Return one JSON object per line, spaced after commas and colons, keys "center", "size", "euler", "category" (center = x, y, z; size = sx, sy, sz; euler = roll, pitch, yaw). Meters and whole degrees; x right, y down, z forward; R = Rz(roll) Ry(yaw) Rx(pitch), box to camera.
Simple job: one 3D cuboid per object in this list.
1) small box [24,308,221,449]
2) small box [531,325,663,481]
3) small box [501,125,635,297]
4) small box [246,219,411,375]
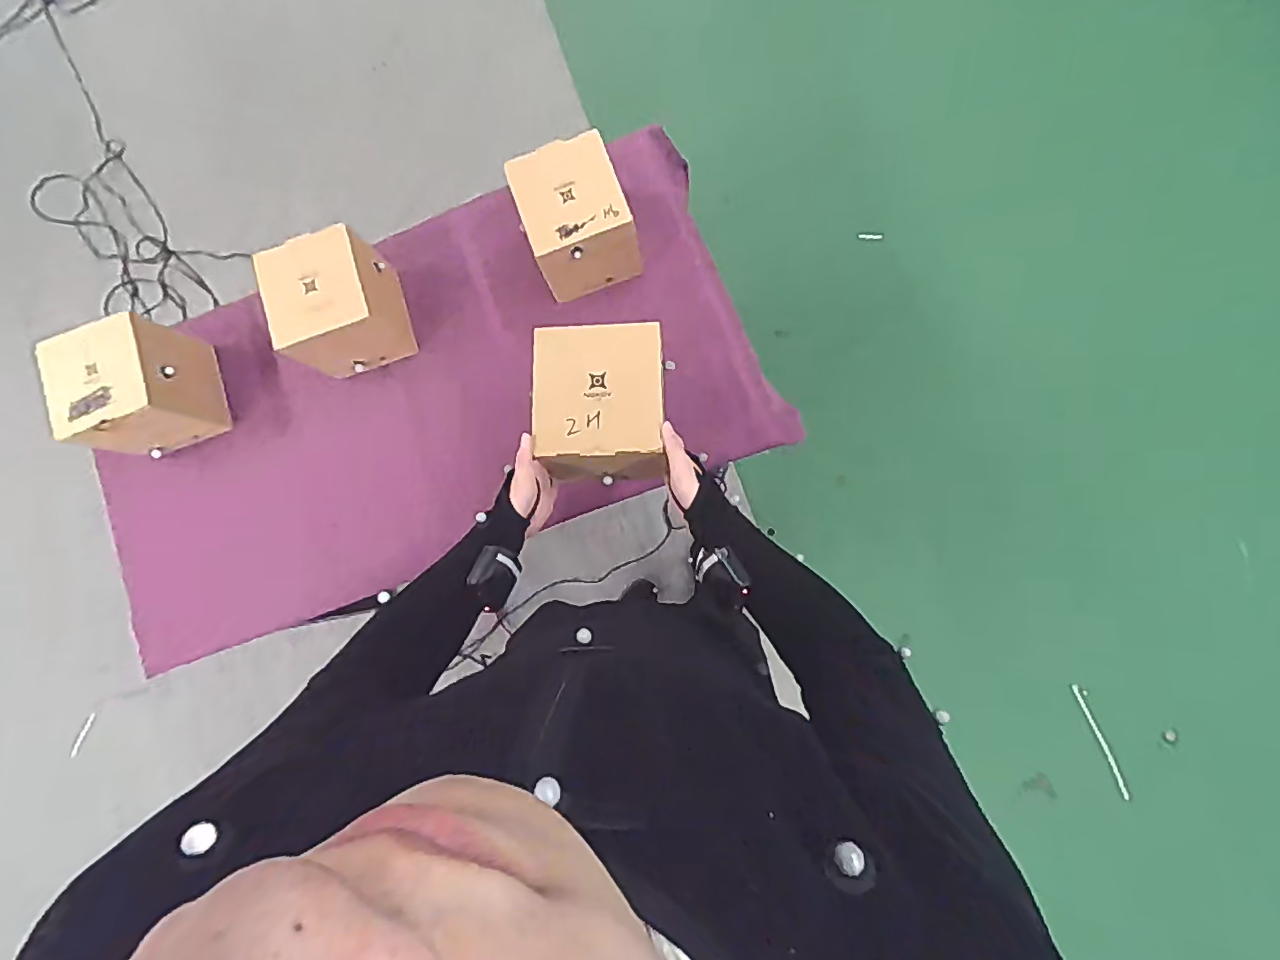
{"center": [-0.877, -0.161, 0.935], "size": [0.168, 0.176, 0.179], "euler": [-20, 84, 0], "category": "small box"}
{"center": [-0.051, -0.100, 0.765], "size": [0.168, 0.176, 0.179], "euler": [-1, 79, 3], "category": "small box"}
{"center": [-0.115, -0.449, 0.928], "size": [0.168, 0.176, 0.179], "euler": [-20, 83, 2], "category": "small box"}
{"center": [-0.527, -0.306, 0.936], "size": [0.168, 0.176, 0.179], "euler": [-18, 84, 2], "category": "small box"}
